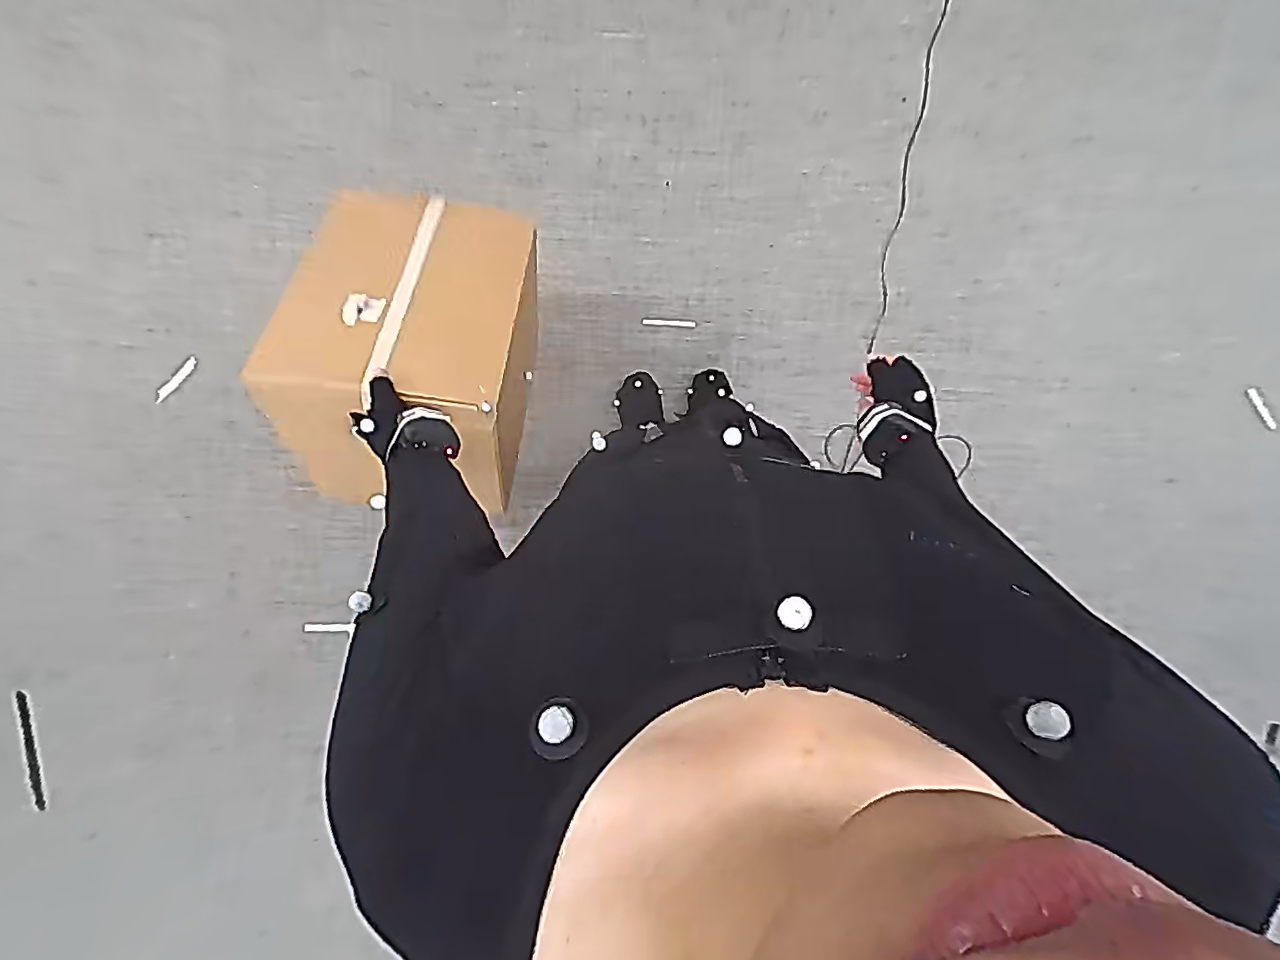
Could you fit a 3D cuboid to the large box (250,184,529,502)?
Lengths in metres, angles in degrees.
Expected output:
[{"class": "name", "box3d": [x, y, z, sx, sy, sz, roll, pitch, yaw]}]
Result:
[{"class": "large box", "box3d": [-0.365, -0.217, 0.924, 0.320, 0.320, 0.408, 6, 63, -6]}]
